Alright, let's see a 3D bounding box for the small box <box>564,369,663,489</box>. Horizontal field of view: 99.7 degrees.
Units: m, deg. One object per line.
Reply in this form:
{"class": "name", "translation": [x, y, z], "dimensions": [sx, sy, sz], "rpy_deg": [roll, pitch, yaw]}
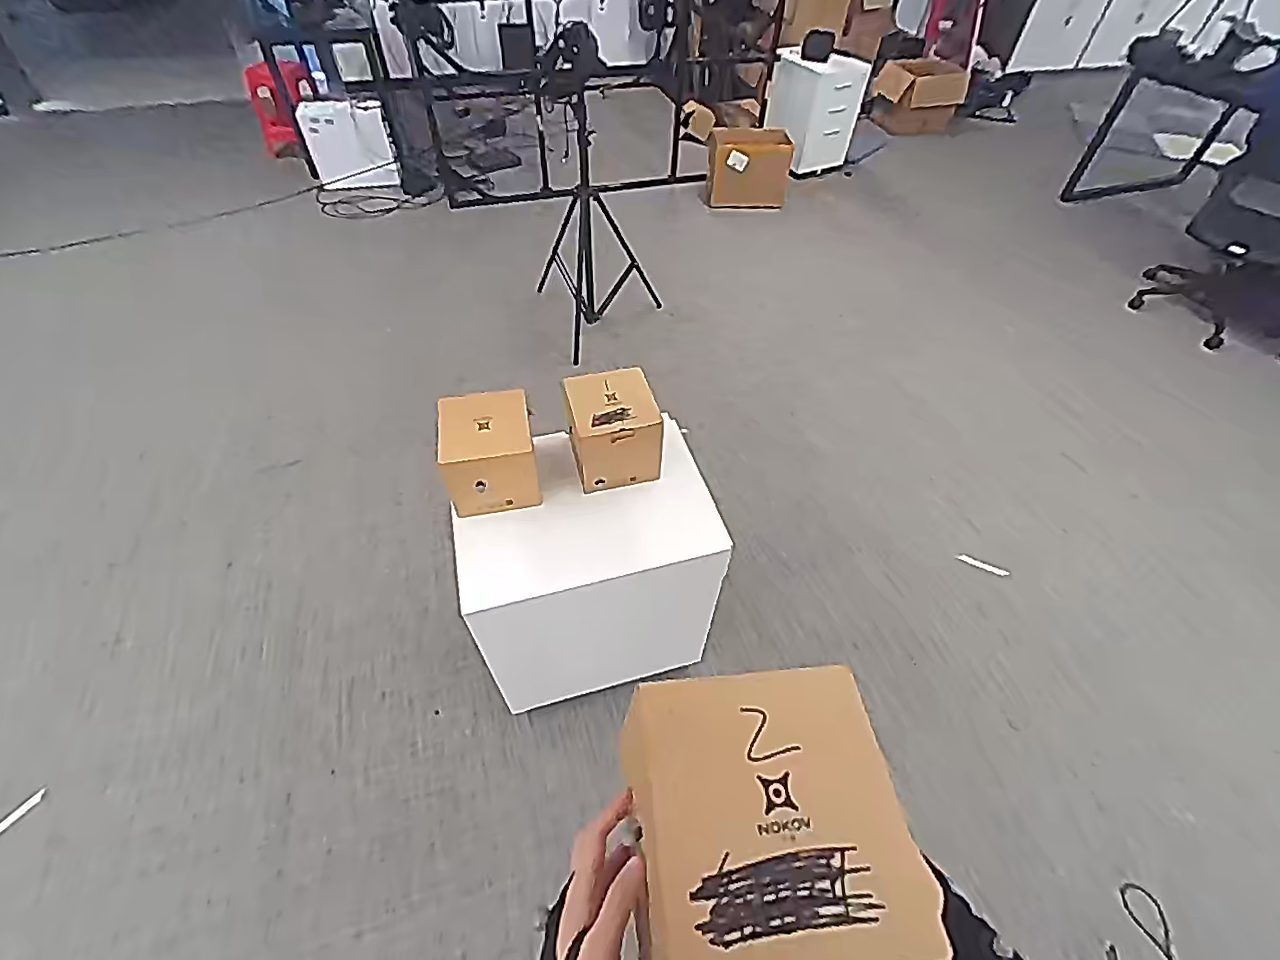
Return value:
{"class": "small box", "translation": [-0.055, -0.099, 1.115], "dimensions": [0.168, 0.176, 0.179], "rpy_deg": [-11, 51, -11]}

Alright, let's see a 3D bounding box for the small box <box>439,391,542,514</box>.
{"class": "small box", "translation": [-0.290, -0.047, 1.065], "dimensions": [0.168, 0.176, 0.179], "rpy_deg": [-9, 51, -10]}
